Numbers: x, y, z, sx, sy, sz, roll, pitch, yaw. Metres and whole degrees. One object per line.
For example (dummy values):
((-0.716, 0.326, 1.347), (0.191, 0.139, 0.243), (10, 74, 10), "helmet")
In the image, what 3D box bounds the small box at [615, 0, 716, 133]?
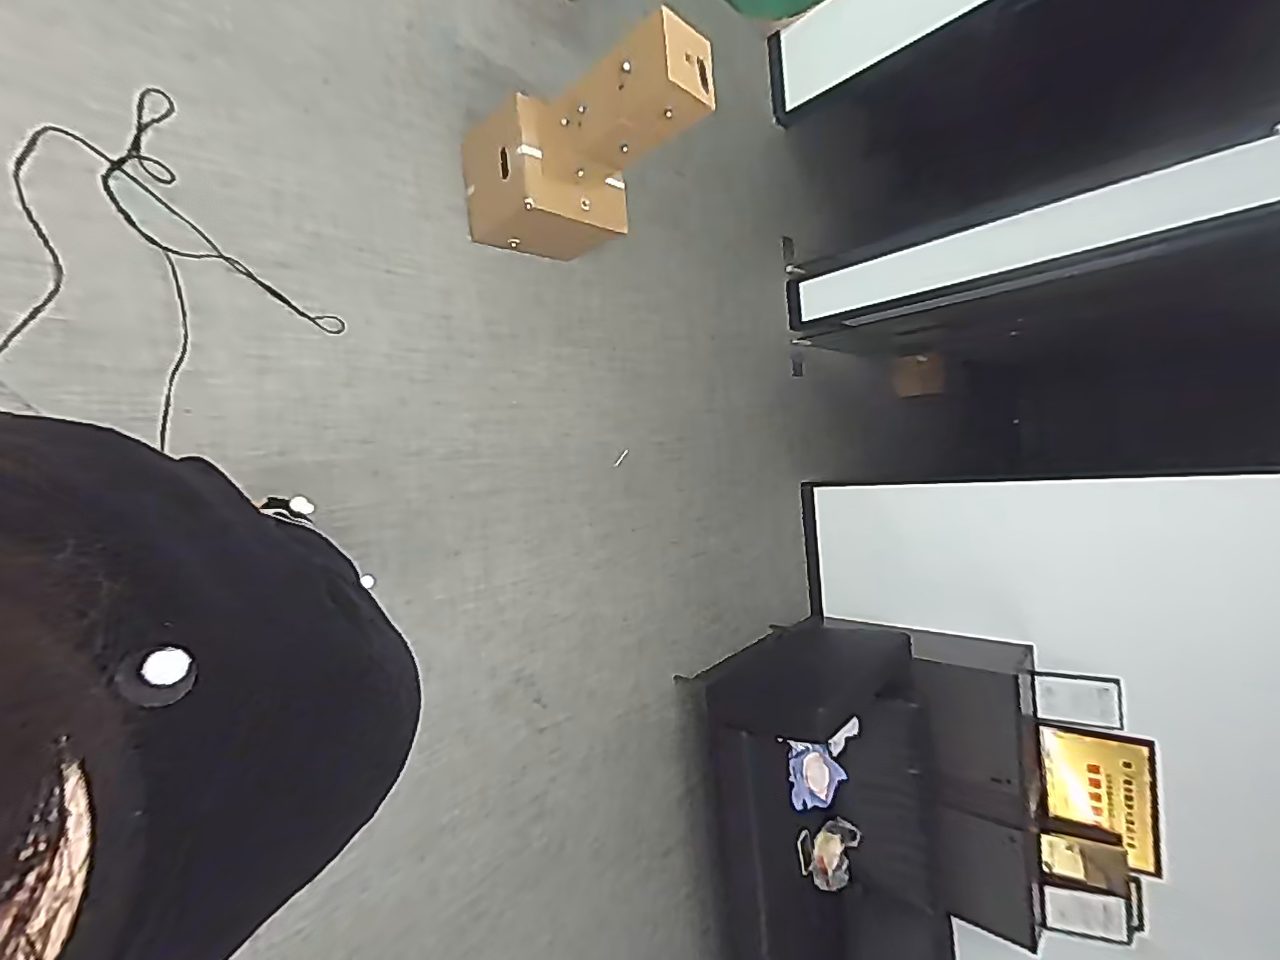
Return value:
((0.061, -0.978, 1.303), (0.179, 0.176, 0.168), (-7, 93, -44), "small box")

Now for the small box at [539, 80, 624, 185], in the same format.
((-0.168, -0.976, 1.540), (0.168, 0.176, 0.179), (-12, 96, -46), "small box")
